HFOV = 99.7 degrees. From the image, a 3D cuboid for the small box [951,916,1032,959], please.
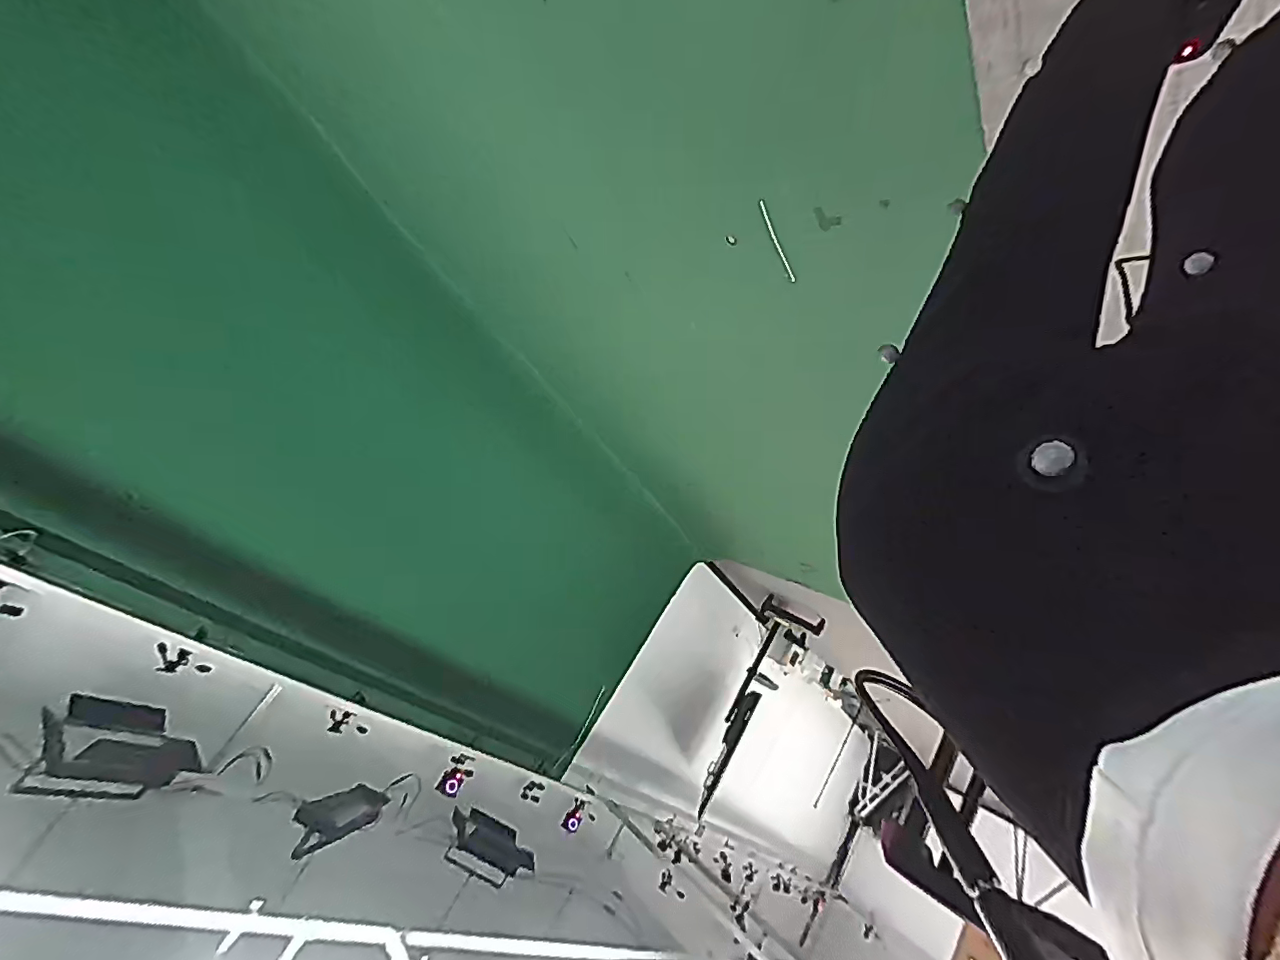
[{"bbox_3d":[0.990,1.376,1.527,0.168,0.176,0.179,17,157,44],"label":"small box"}]
